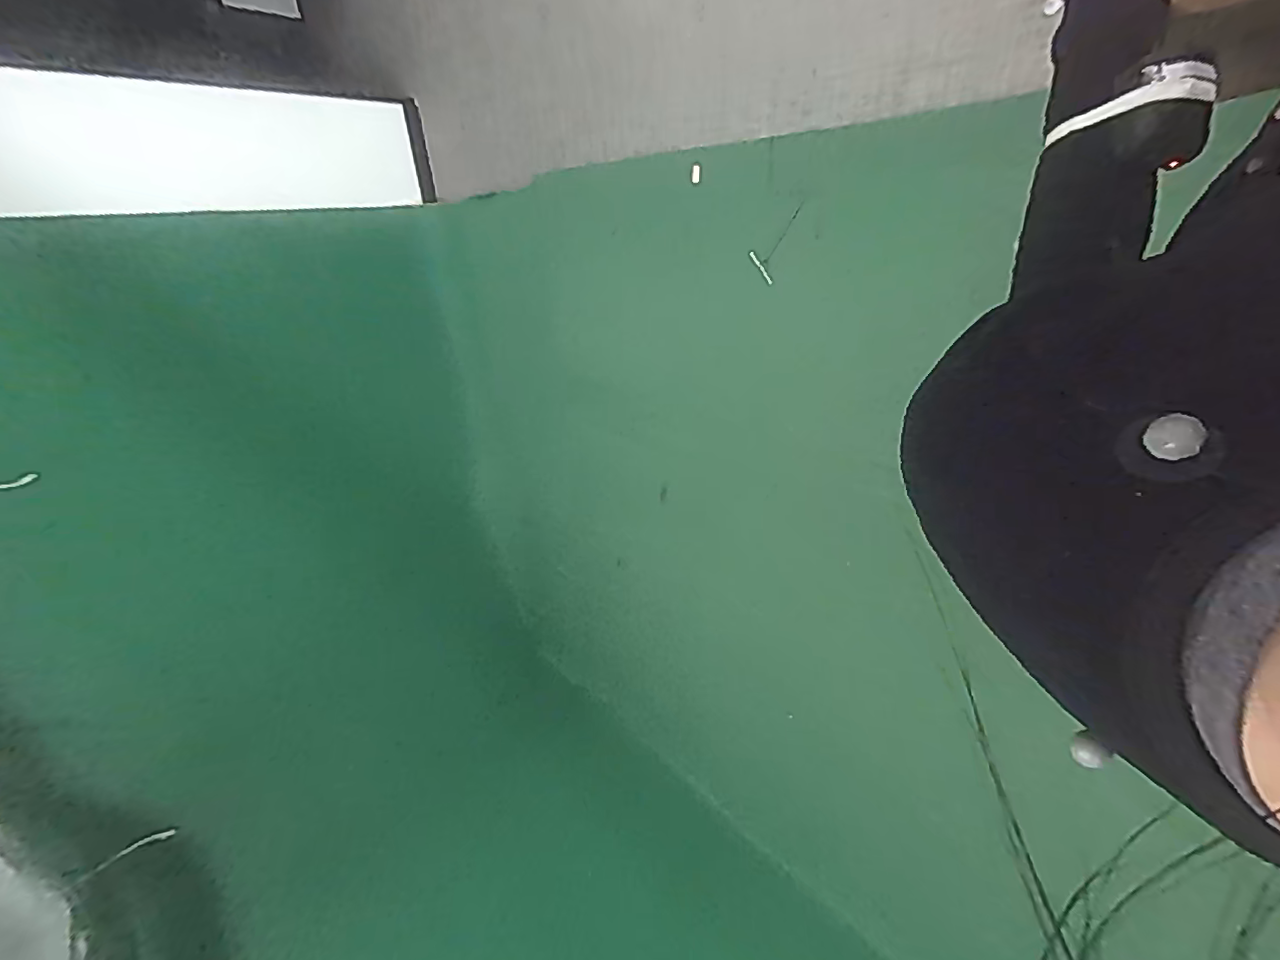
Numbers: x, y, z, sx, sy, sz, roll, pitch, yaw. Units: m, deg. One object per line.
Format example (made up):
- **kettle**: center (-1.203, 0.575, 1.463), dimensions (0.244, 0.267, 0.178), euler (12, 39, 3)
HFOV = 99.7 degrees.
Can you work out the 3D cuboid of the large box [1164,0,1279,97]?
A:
- **large box**: center (0.570, -0.473, 0.276), dimensions (0.408, 0.320, 0.320), euler (9, 108, 41)
